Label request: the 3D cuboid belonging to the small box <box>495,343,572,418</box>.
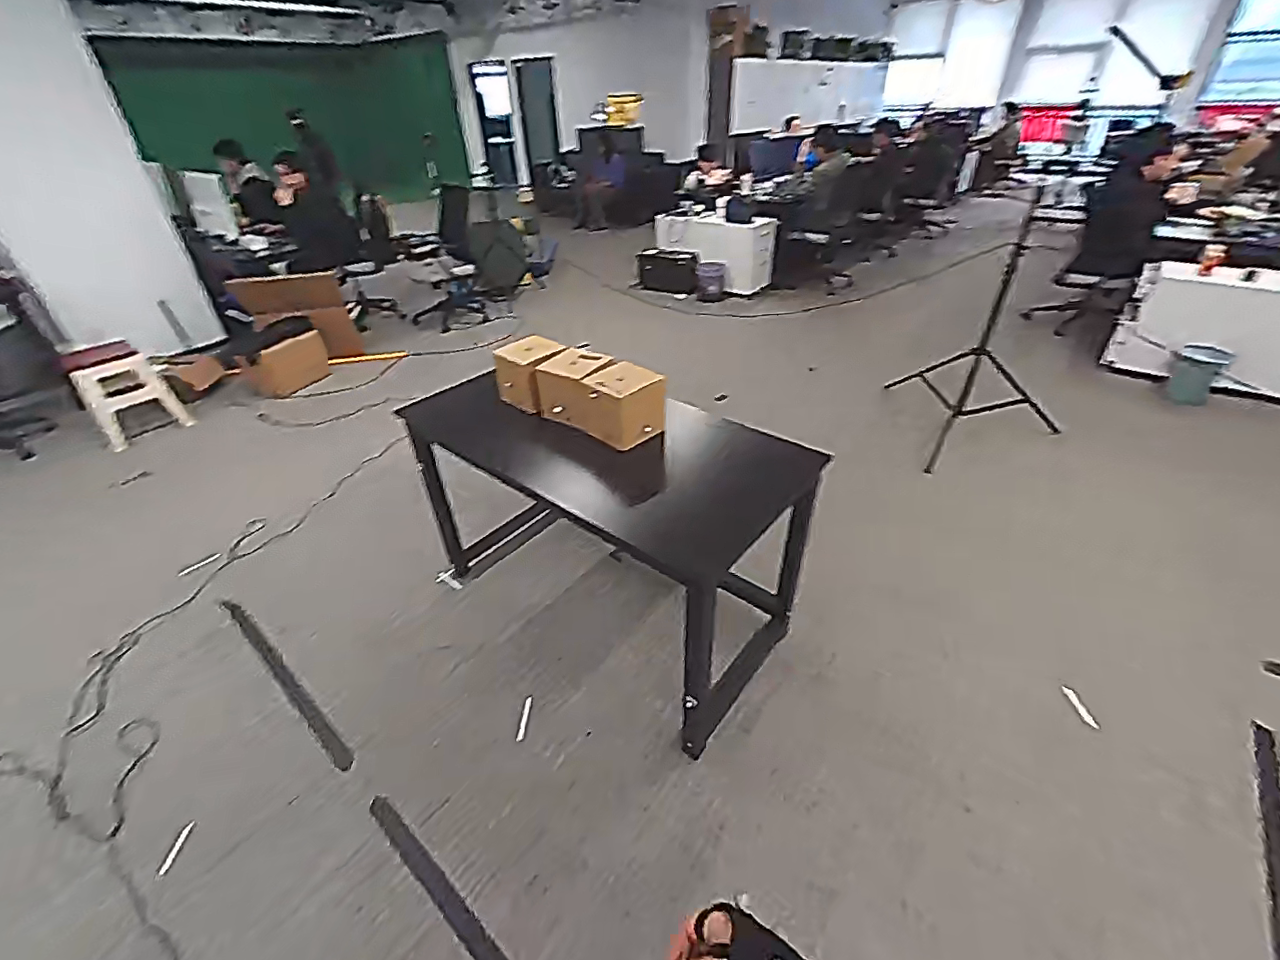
[{"bbox_3d":[-0.337,-0.321,1.745,0.168,0.176,0.179,27,45,34],"label":"small box"}]
